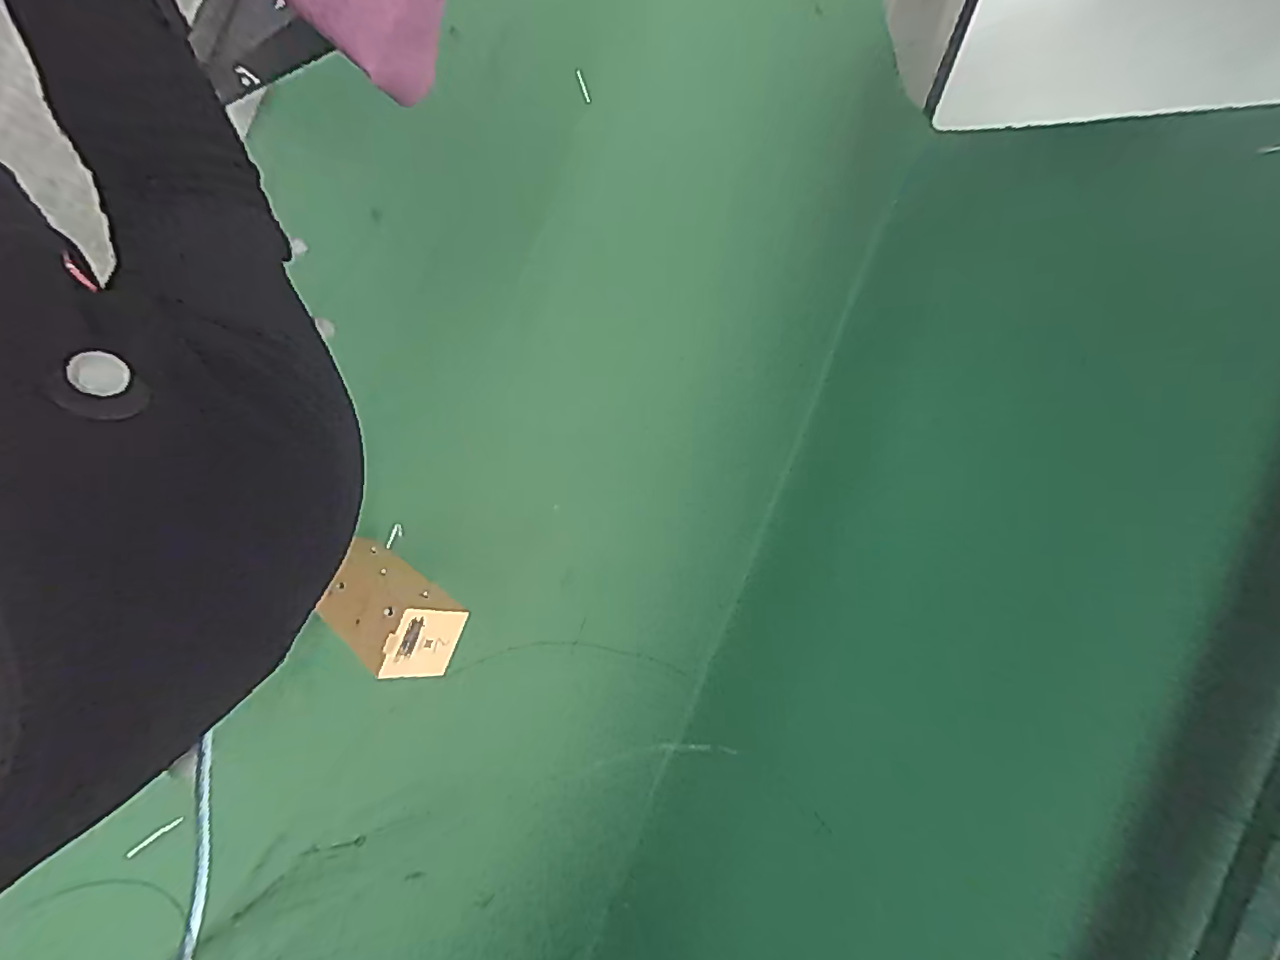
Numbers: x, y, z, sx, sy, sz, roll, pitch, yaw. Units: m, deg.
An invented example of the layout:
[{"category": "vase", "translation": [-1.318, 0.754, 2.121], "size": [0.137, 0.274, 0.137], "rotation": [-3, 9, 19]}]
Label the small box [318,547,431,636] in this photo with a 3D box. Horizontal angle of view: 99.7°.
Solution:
[{"category": "small box", "translation": [-0.681, 0.284, 1.387], "size": [0.179, 0.176, 0.168], "rotation": [24, 89, -52]}]

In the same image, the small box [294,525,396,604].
[{"category": "small box", "translation": [-0.802, 0.236, 1.484], "size": [0.179, 0.176, 0.168], "rotation": [26, 86, -53]}]
